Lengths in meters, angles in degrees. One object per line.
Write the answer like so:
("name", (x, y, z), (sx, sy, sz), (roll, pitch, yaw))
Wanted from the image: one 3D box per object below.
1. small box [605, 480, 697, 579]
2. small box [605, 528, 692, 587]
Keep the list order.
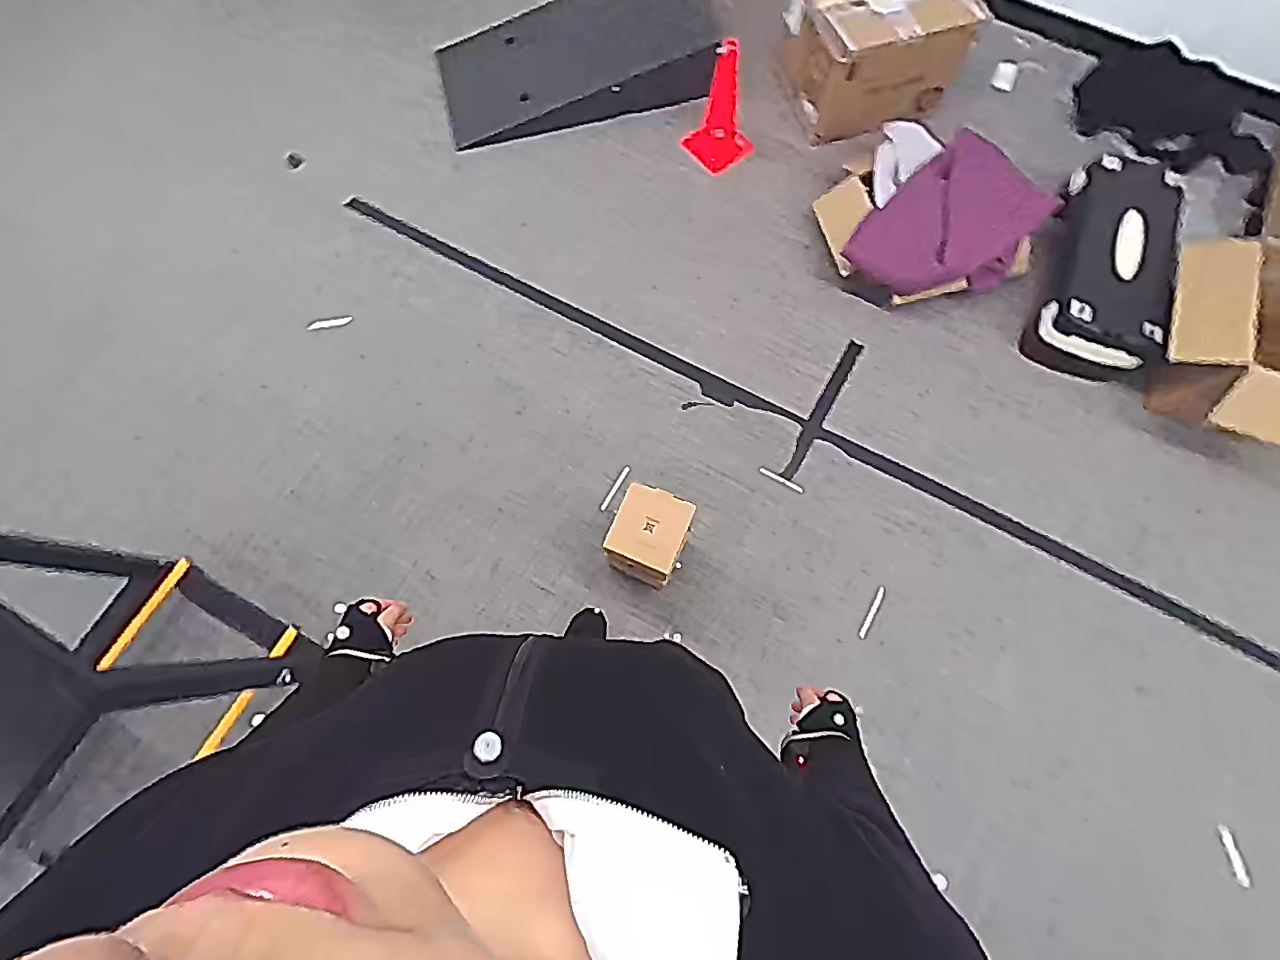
("small box", (0.027, 0.126, 1.315), (0.168, 0.176, 0.179), (22, 77, 8))
("small box", (0.022, 0.180, 1.469), (0.179, 0.176, 0.168), (26, 76, 7))
